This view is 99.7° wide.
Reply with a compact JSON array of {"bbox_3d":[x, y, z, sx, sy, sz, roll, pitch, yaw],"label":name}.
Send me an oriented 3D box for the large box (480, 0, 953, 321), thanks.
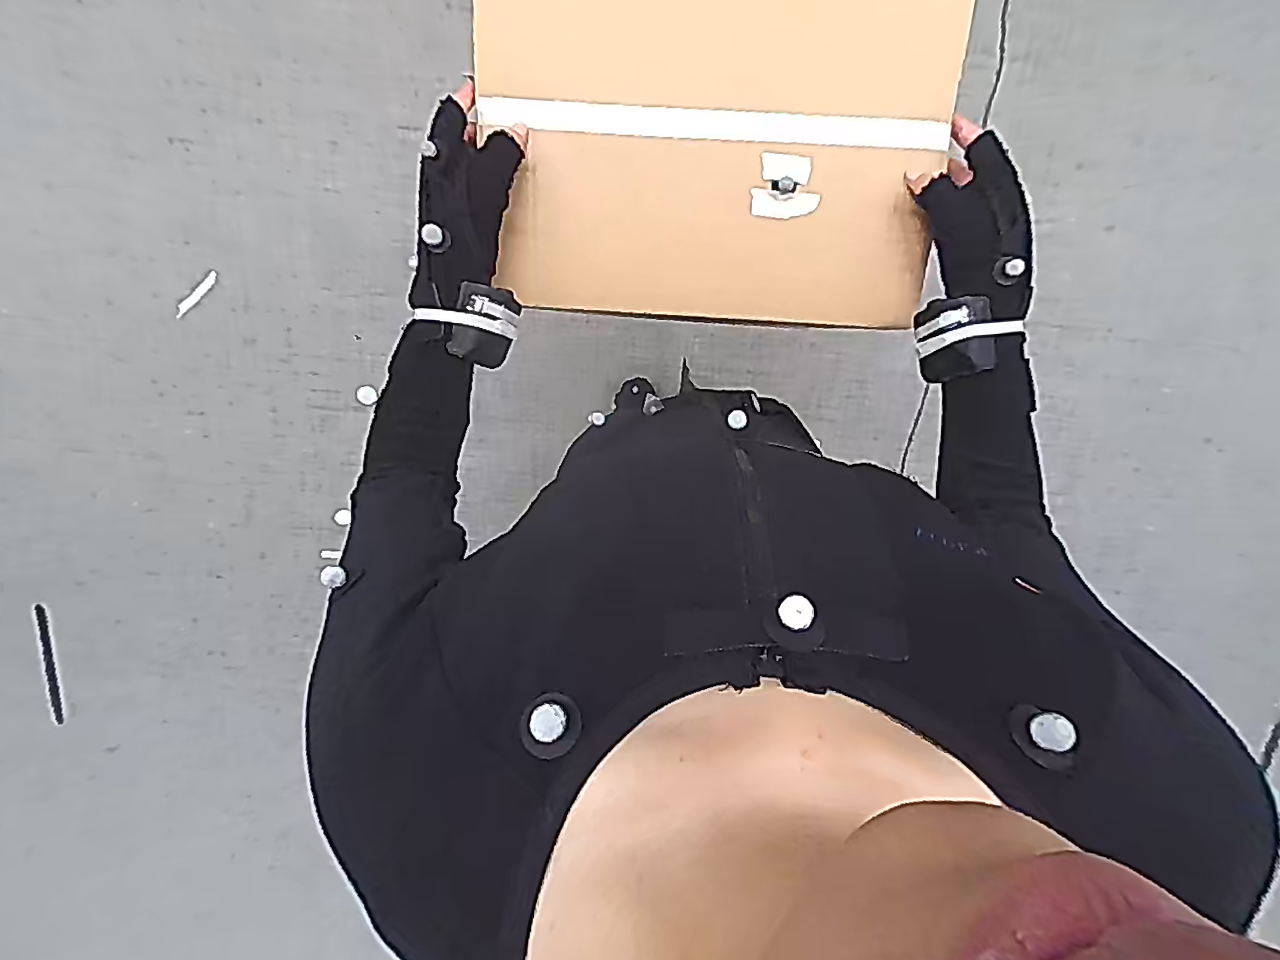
[{"bbox_3d":[0.060,-0.352,0.620,0.408,0.320,0.320,3,106,0],"label":"large box"}]
